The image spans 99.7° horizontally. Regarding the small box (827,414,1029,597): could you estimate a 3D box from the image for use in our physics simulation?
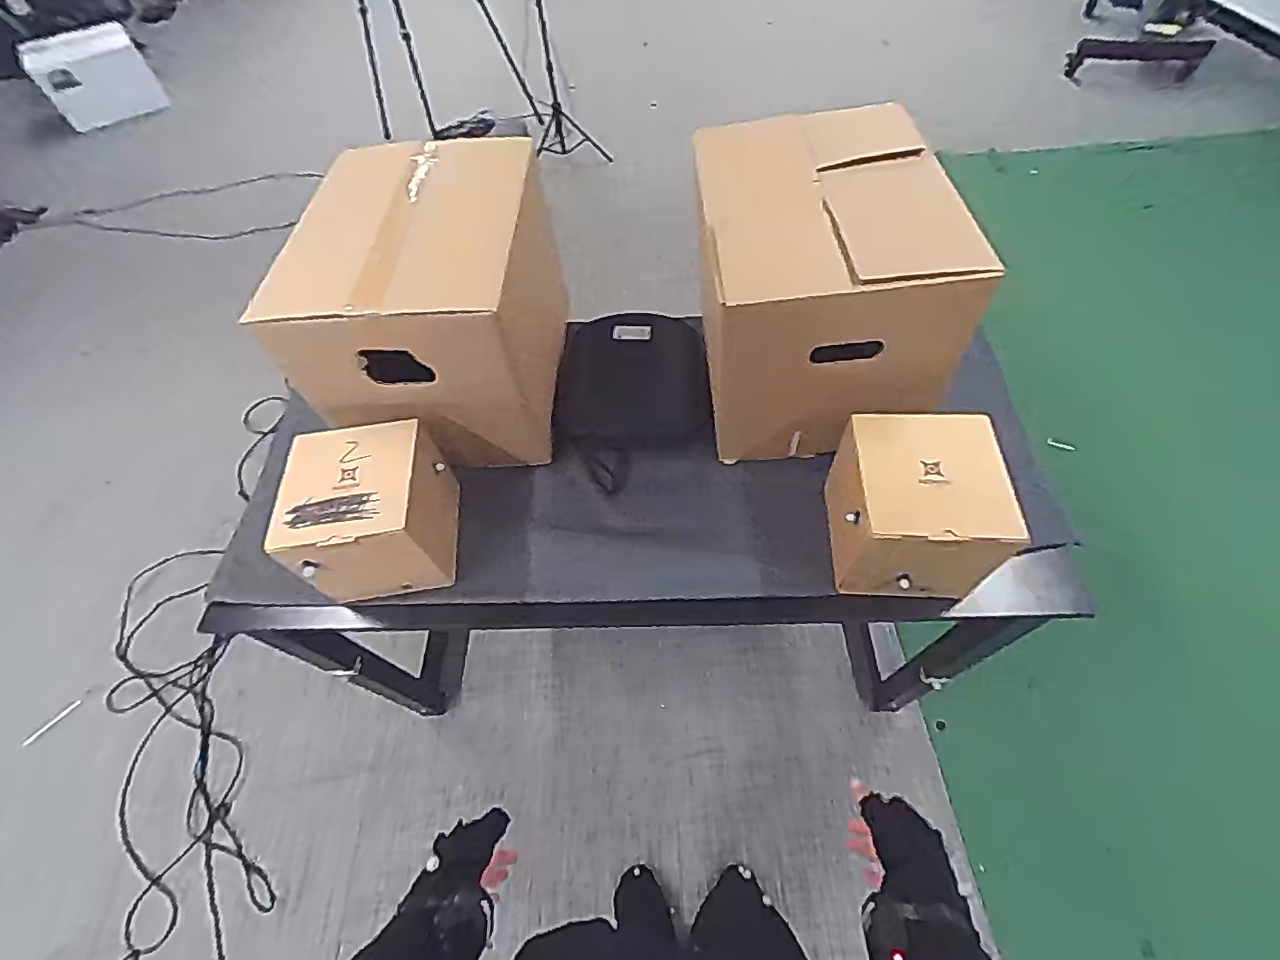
[{"bbox_3d":[0.349,0.035,0.699,0.168,0.176,0.179,1,58,6],"label":"small box"}]
